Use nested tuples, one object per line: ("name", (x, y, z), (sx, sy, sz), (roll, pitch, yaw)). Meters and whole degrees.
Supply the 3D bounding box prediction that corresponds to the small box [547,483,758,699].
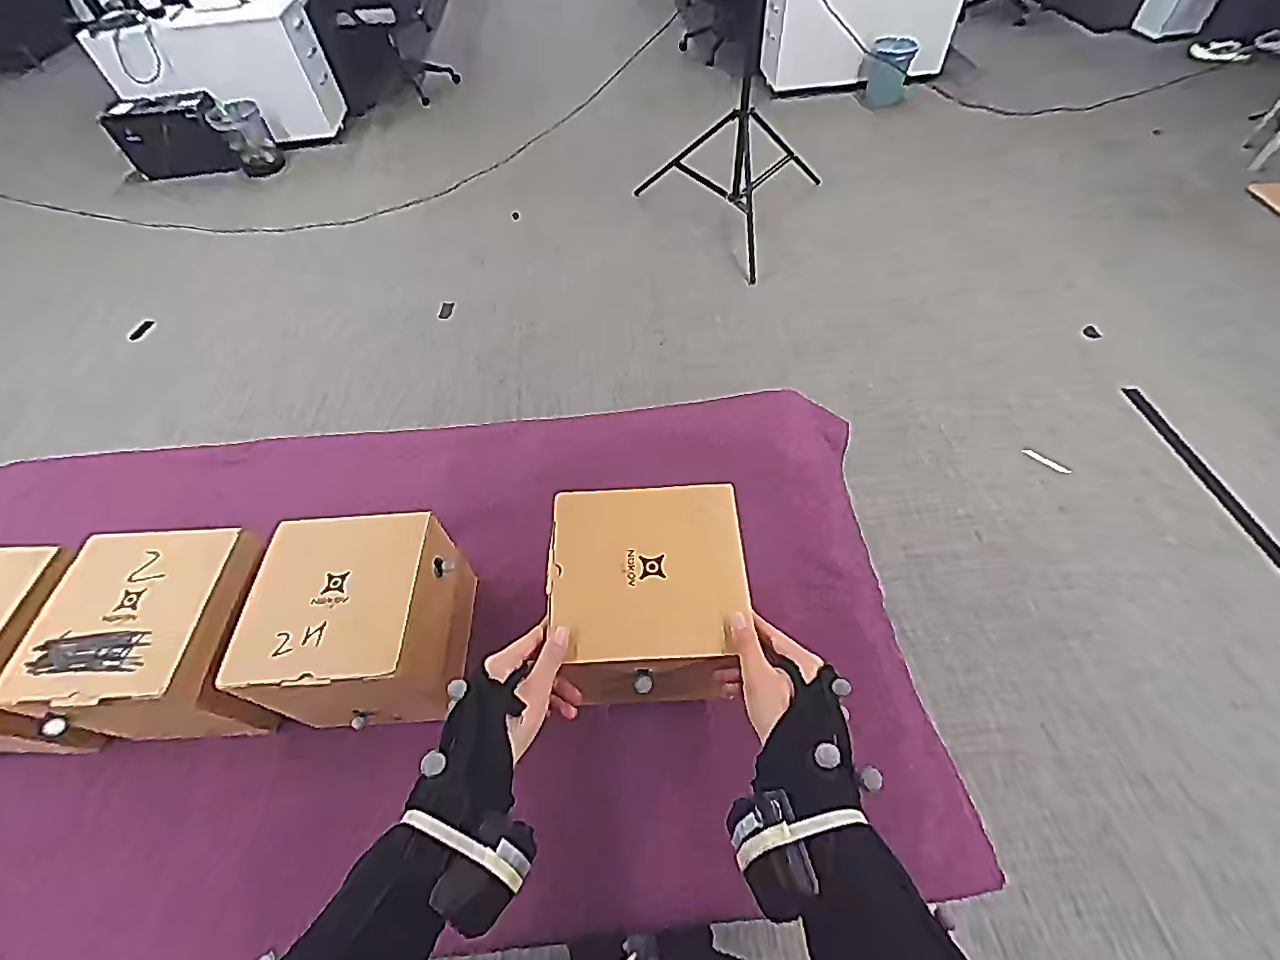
("small box", (0.011, 0.118, 0.548), (0.179, 0.176, 0.168), (-4, 57, 2))
